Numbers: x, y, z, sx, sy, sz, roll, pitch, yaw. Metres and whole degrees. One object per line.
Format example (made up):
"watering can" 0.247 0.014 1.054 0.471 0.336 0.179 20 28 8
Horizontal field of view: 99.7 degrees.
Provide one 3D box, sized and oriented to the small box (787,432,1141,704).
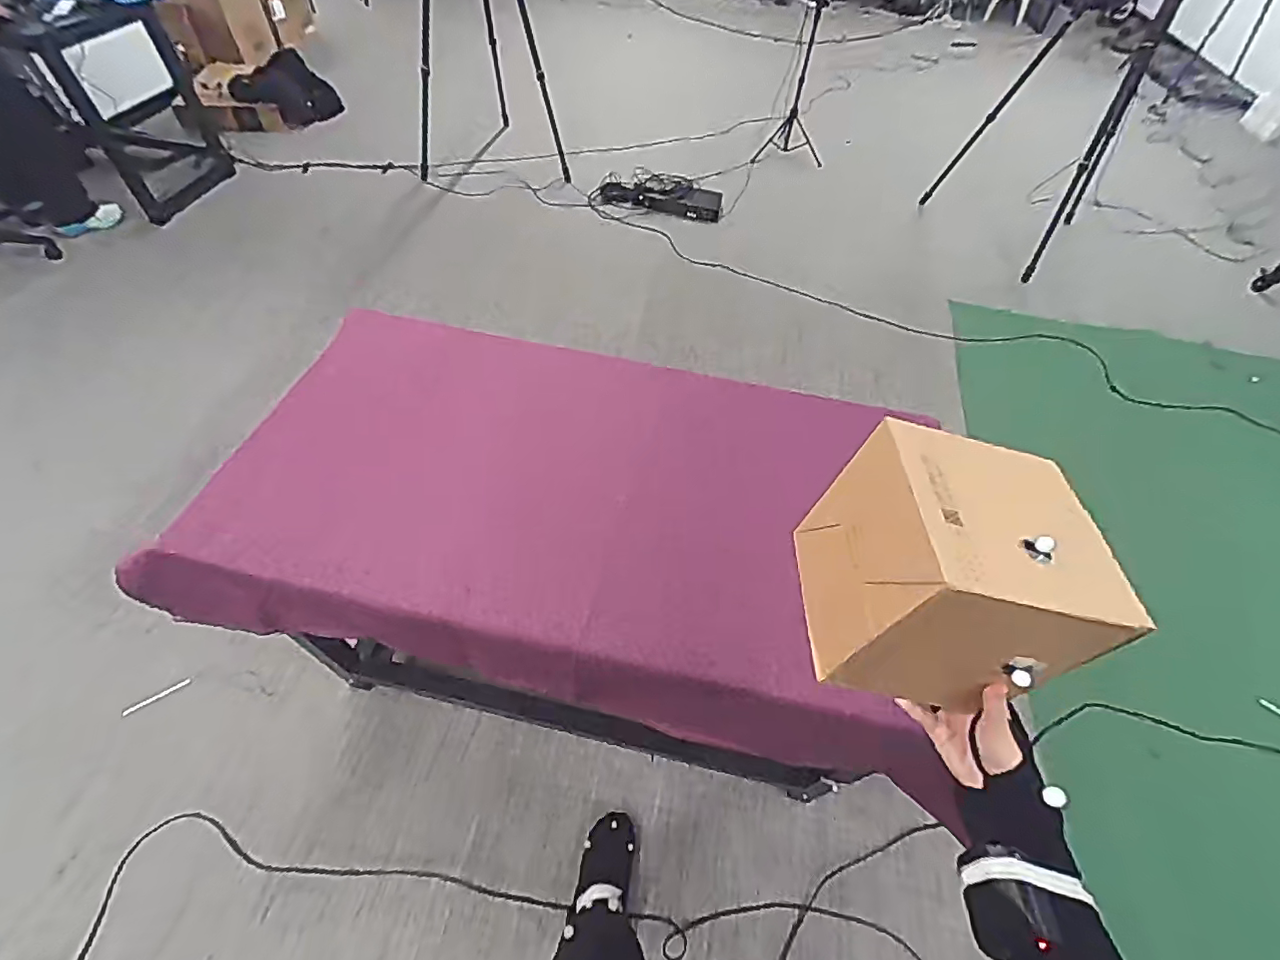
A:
"small box" 0.251 0.075 0.475 0.176 0.179 0.168 13 46 -8
